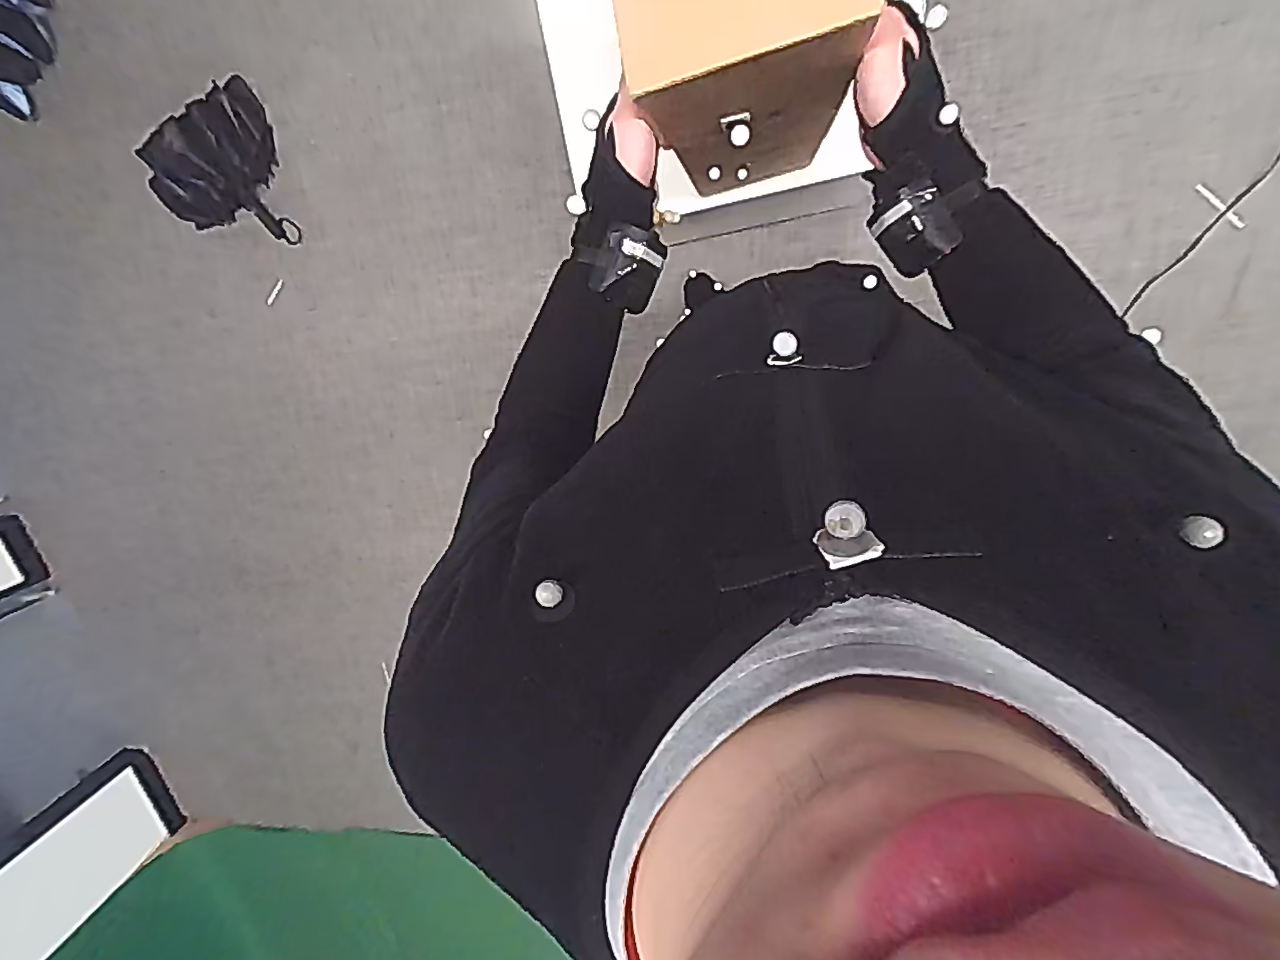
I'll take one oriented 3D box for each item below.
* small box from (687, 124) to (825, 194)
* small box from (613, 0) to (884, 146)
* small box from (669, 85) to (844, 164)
[{"bbox_3d":[0.133,-0.497,0.699,0.168,0.176,0.179,-10,106,15],"label":"small box"},{"bbox_3d":[0.069,-0.381,0.397,0.168,0.176,0.179,-8,107,15],"label":"small box"},{"bbox_3d":[0.103,-0.442,0.547,0.168,0.176,0.179,-10,106,14],"label":"small box"}]
